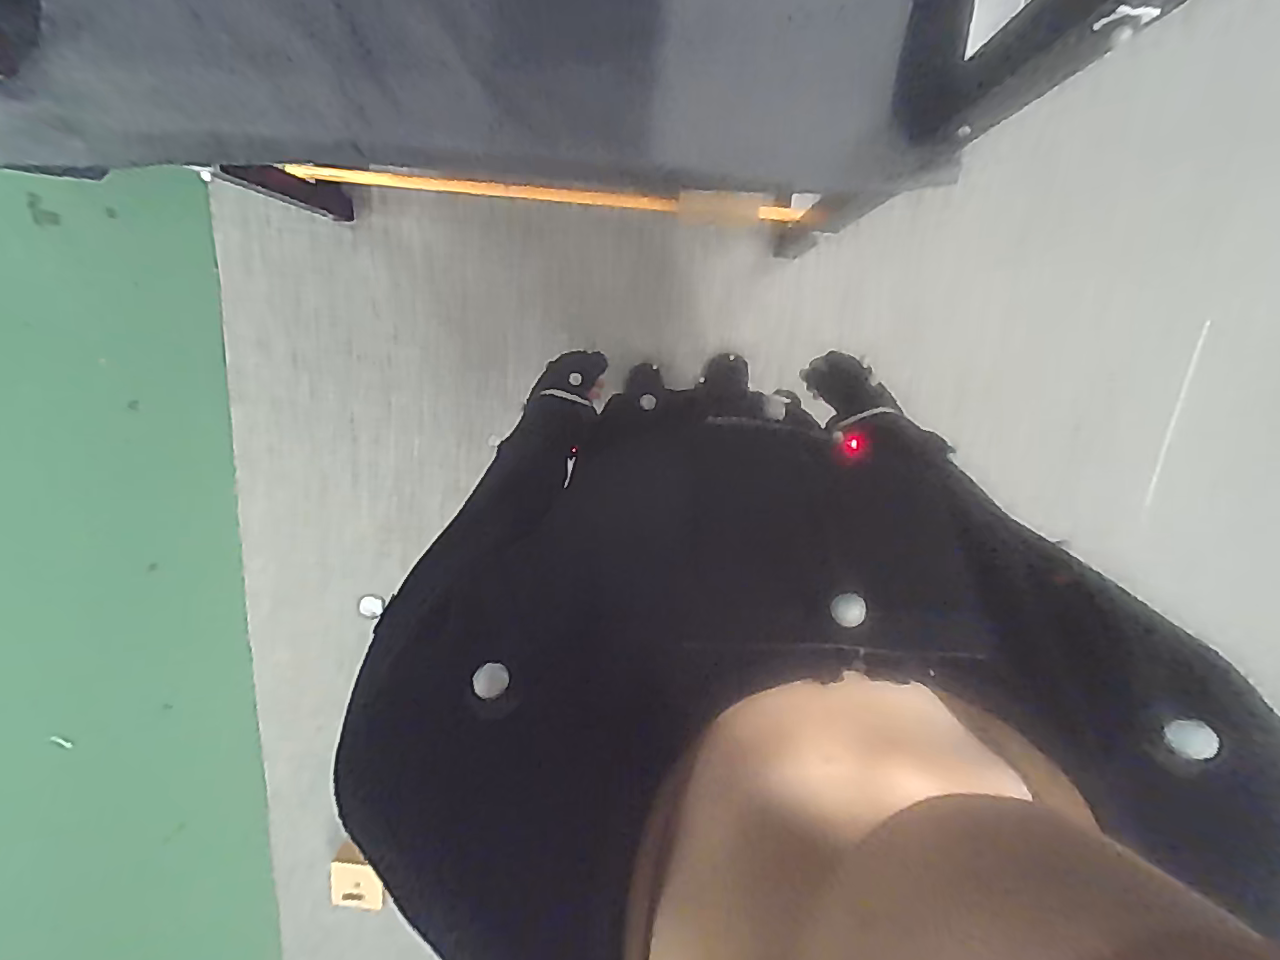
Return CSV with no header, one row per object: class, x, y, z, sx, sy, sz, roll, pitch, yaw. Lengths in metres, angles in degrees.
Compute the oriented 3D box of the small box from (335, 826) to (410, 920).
small box,-0.867,1.280,1.766,0.168,0.176,0.179,6,103,2
